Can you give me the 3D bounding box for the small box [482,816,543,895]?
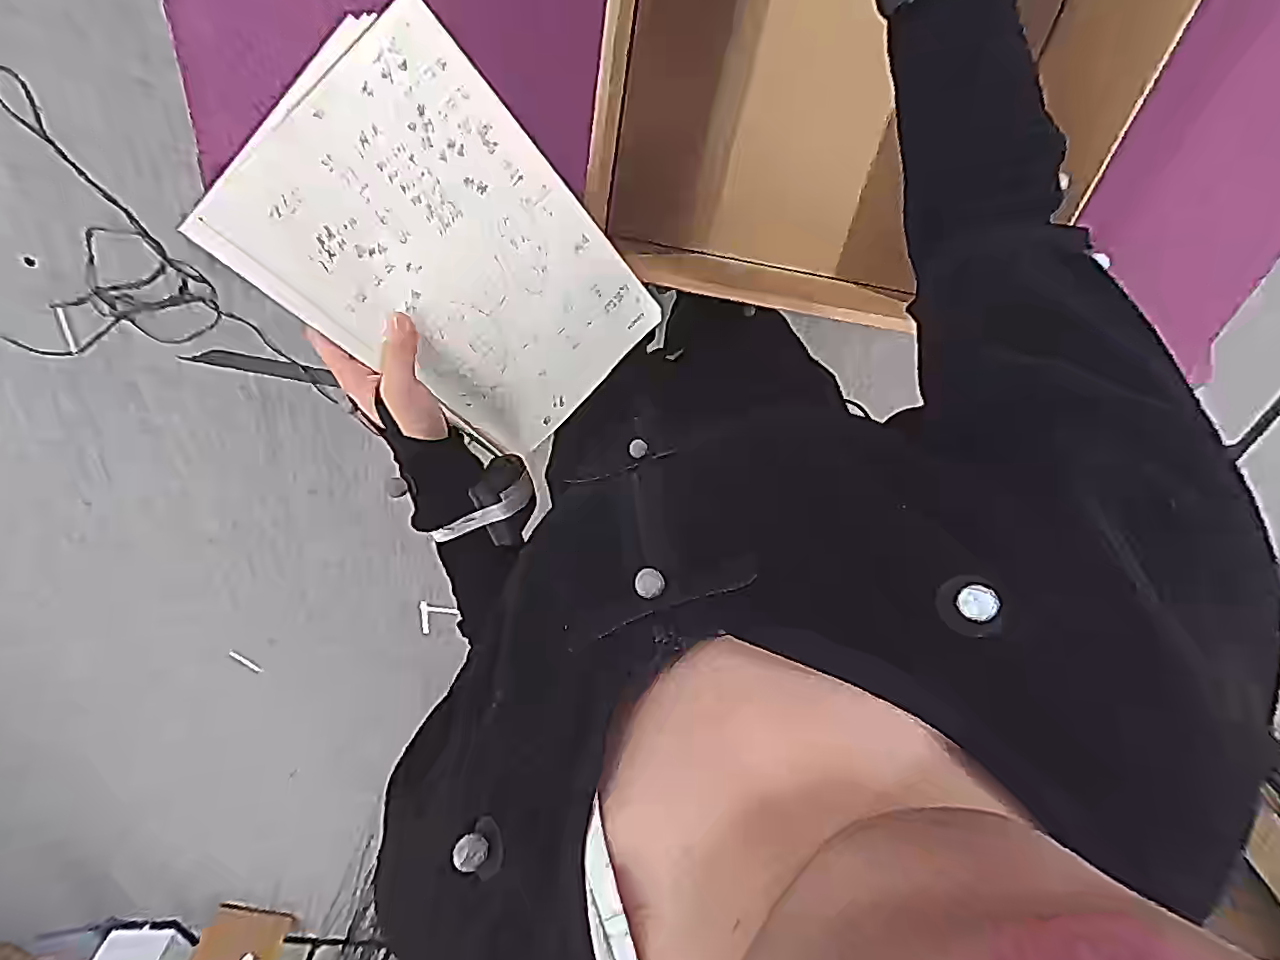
[{"bbox_3d":[-0.435,1.289,1.860,0.168,0.176,0.179,12,121,-8],"label":"small box"}]
